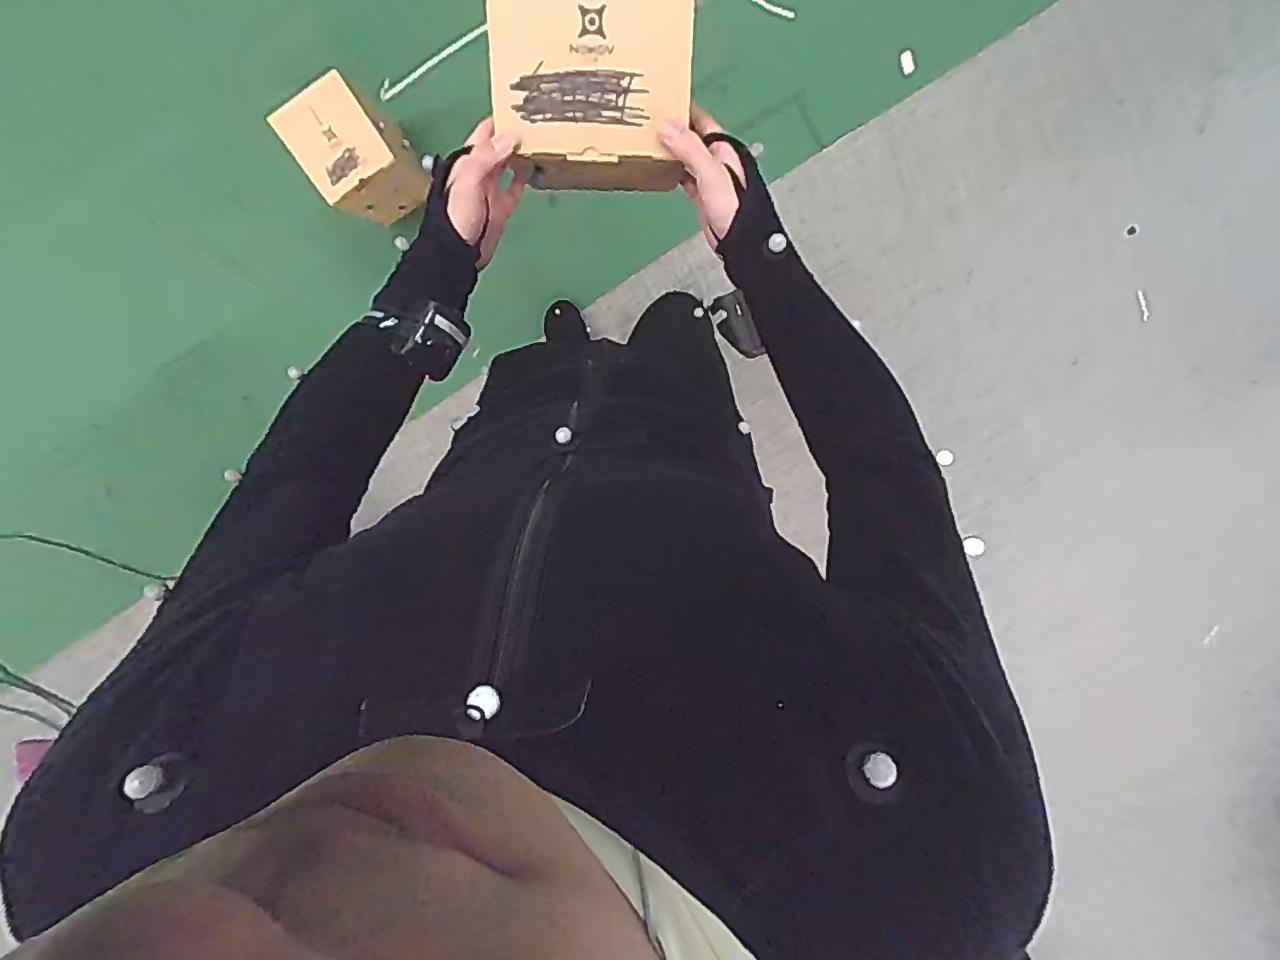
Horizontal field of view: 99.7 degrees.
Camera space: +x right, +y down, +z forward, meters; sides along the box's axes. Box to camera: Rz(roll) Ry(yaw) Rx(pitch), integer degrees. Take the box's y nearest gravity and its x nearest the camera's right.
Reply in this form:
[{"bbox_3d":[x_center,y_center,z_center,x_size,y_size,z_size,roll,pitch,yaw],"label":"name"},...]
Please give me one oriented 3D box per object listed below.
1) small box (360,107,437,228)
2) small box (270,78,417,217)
[{"bbox_3d":[-0.612,-0.722,1.273,0.168,0.176,0.179,-31,109,5],"label":"small box"},{"bbox_3d":[-0.597,-0.670,1.118,0.168,0.176,0.179,-31,108,5],"label":"small box"}]
